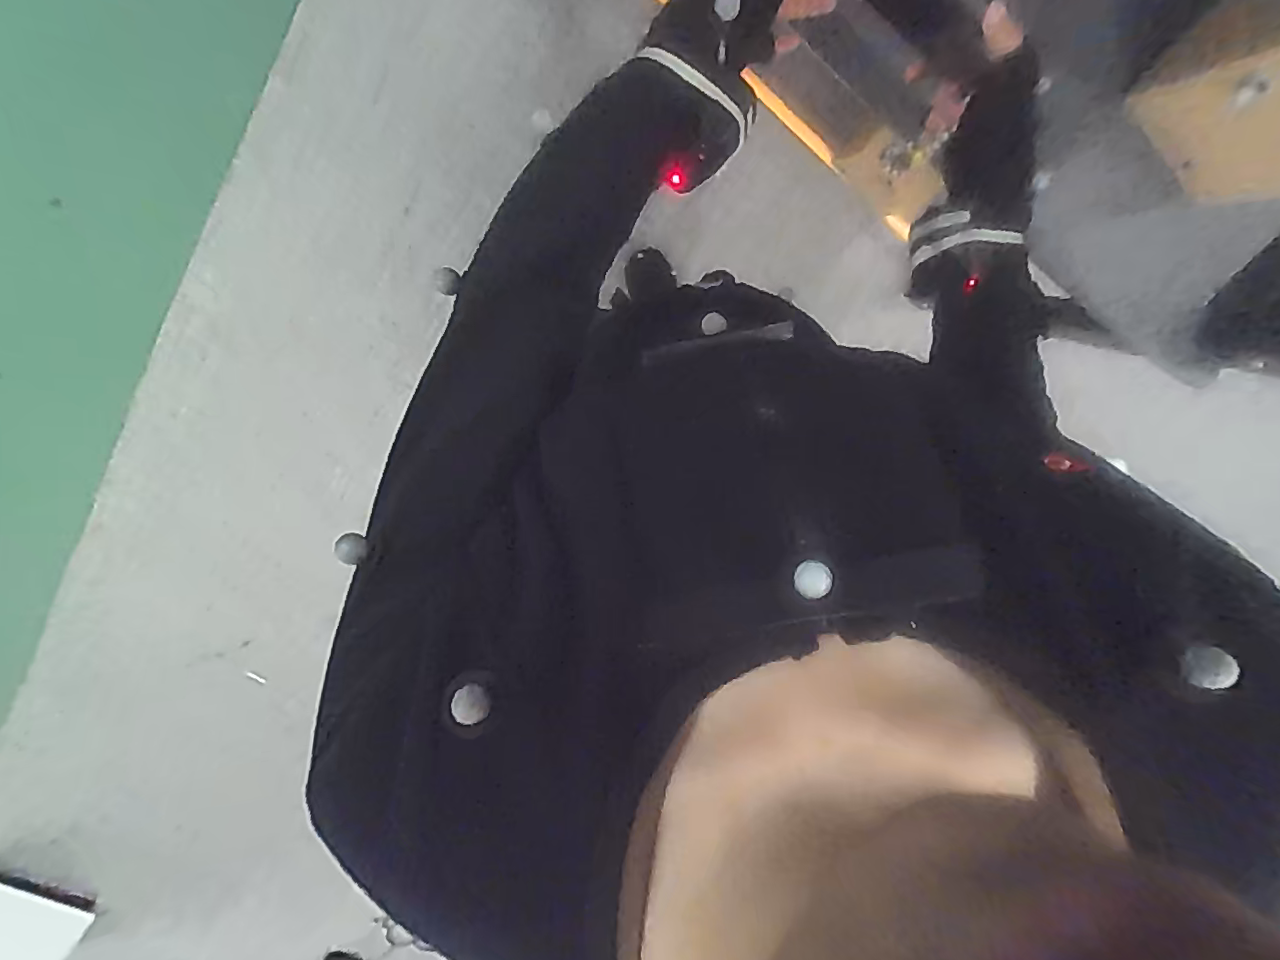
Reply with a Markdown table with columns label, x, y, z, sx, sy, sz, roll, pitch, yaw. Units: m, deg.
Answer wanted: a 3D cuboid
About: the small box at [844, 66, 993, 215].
| label | x | y | z | sx | sy | sz | roll | pitch | yaw |
| --- | --- | --- | --- | --- | --- | --- | --- | --- | --- |
| small box | 0.528 | -0.647 | 1.061 | 0.168 | 0.176 | 0.179 | 37 | 108 | -16 |
